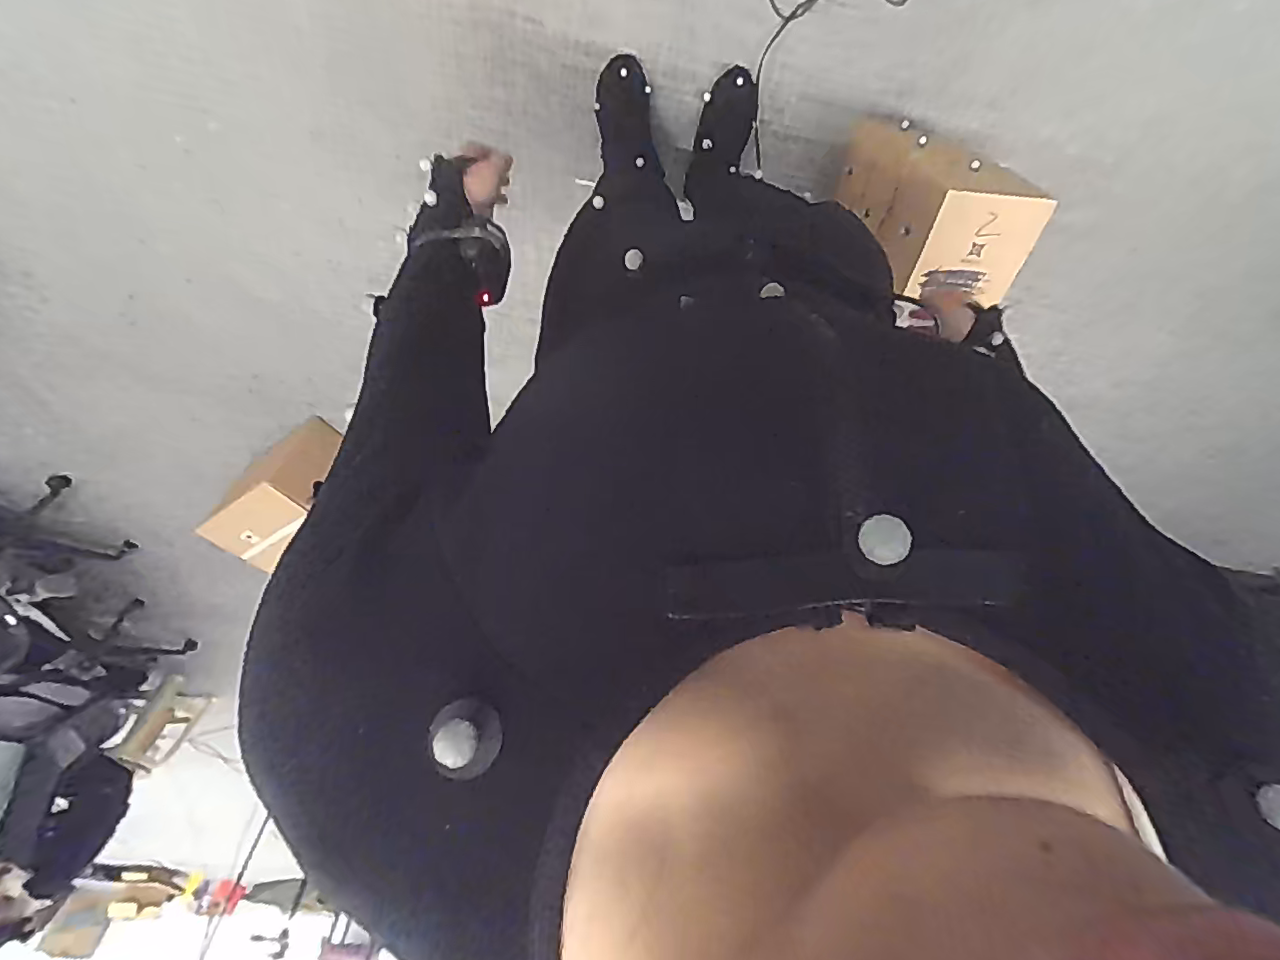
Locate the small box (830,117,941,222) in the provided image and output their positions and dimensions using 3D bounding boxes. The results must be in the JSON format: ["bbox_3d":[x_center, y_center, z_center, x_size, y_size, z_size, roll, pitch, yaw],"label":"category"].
[{"bbox_3d":[0.523,-0.642,1.137,0.179,0.176,0.168,8,134,-5],"label":"small box"}]

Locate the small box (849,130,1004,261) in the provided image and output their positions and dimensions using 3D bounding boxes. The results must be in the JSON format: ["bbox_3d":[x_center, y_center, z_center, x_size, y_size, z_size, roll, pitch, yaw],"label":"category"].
[{"bbox_3d":[0.519,-0.536,1.013,0.179,0.176,0.168,5,136,-5],"label":"small box"}]
